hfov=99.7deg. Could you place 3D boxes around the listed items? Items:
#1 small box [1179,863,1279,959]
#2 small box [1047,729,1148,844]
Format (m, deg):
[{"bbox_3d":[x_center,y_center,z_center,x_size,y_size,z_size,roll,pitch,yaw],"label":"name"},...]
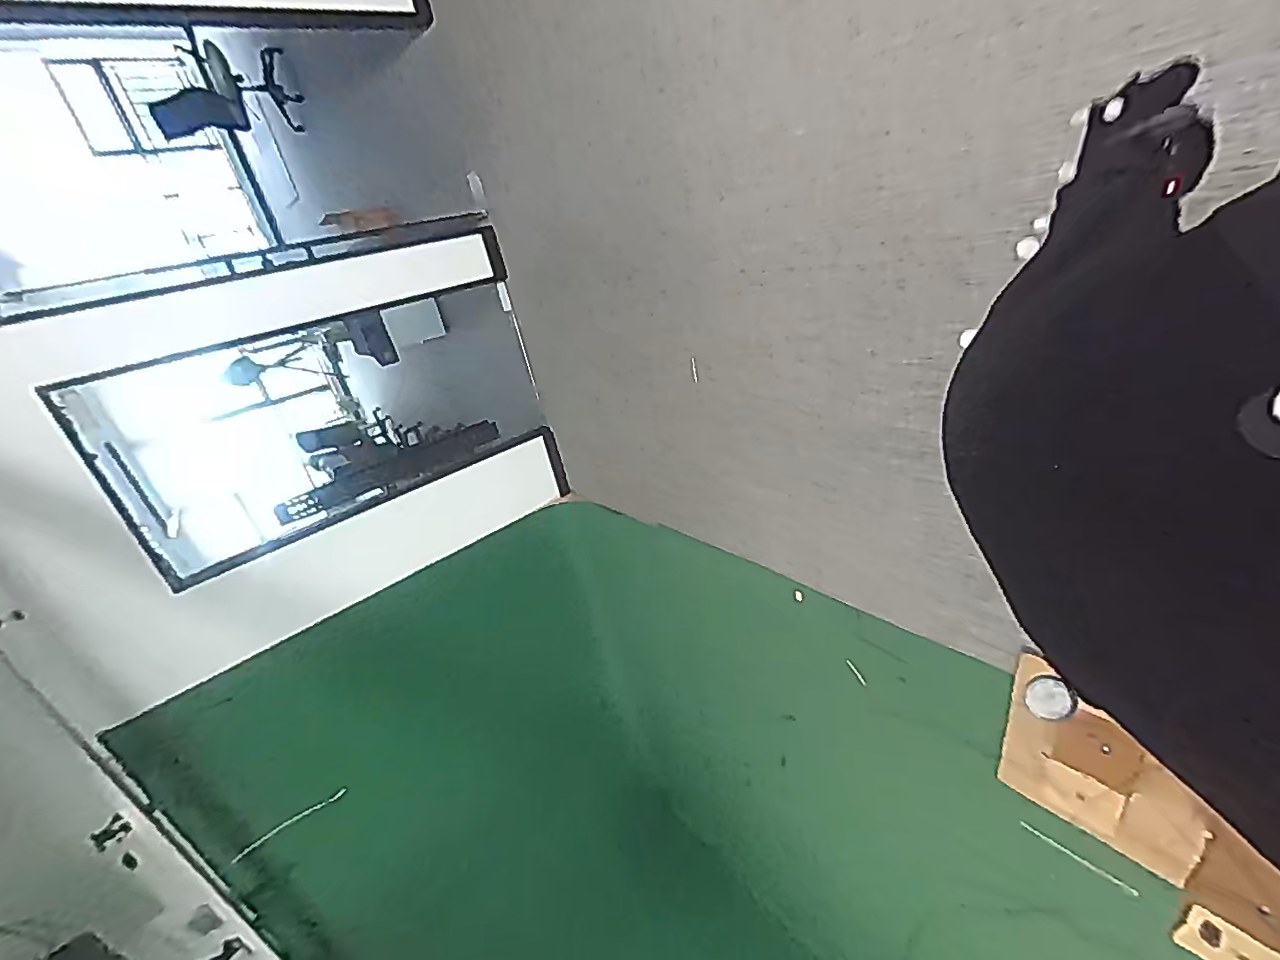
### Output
[{"bbox_3d":[1.323,0.977,1.166,0.179,0.176,0.168,22,131,44],"label":"small box"},{"bbox_3d":[1.253,0.832,1.482,0.168,0.176,0.179,19,128,49],"label":"small box"}]
